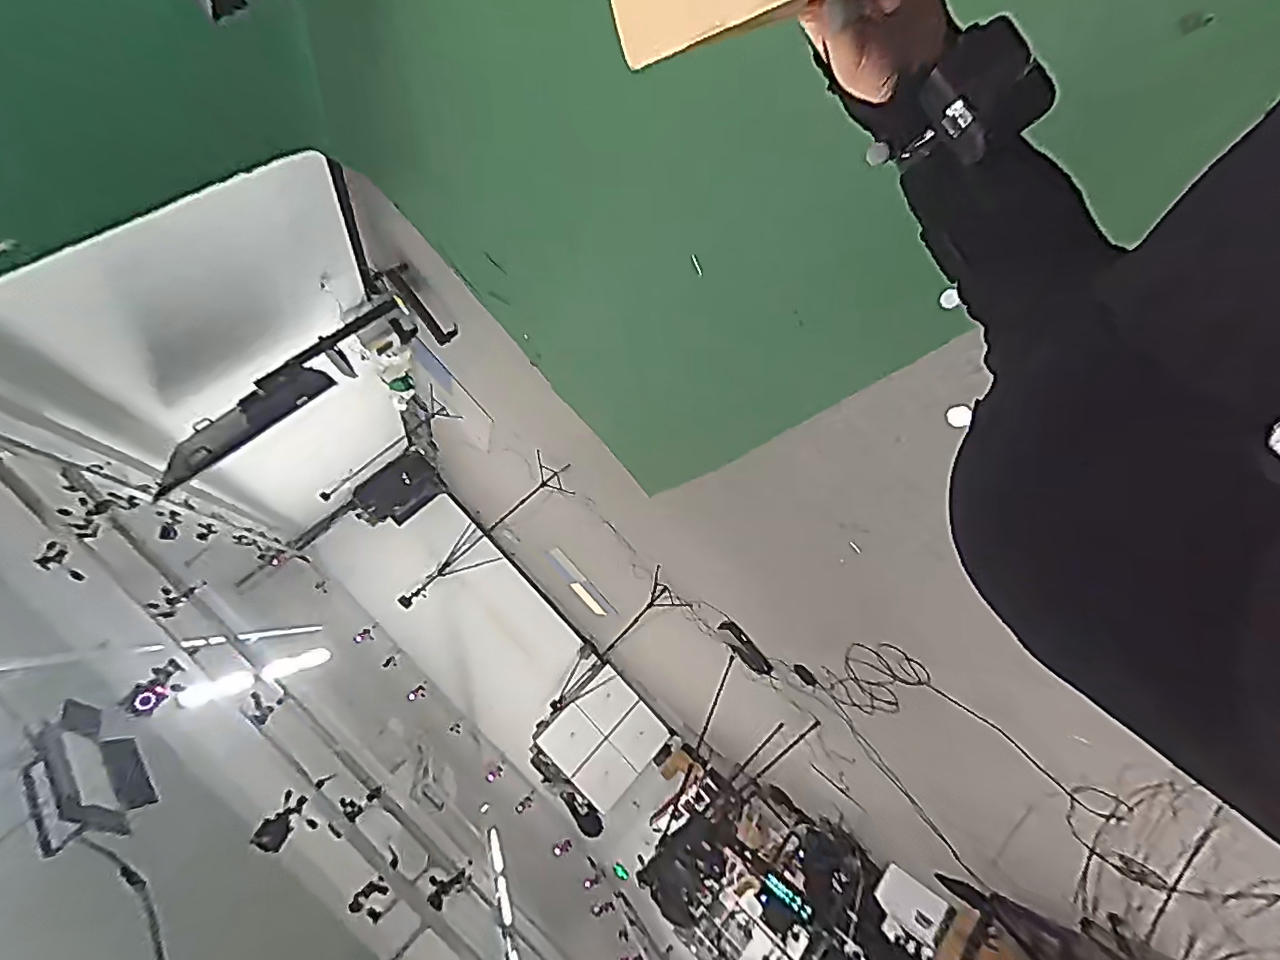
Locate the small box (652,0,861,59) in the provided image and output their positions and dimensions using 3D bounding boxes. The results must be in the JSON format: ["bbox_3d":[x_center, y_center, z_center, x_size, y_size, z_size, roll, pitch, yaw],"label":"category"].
[{"bbox_3d":[0.102,-0.292,0.196,0.179,0.176,0.168,19,141,45],"label":"small box"}]
